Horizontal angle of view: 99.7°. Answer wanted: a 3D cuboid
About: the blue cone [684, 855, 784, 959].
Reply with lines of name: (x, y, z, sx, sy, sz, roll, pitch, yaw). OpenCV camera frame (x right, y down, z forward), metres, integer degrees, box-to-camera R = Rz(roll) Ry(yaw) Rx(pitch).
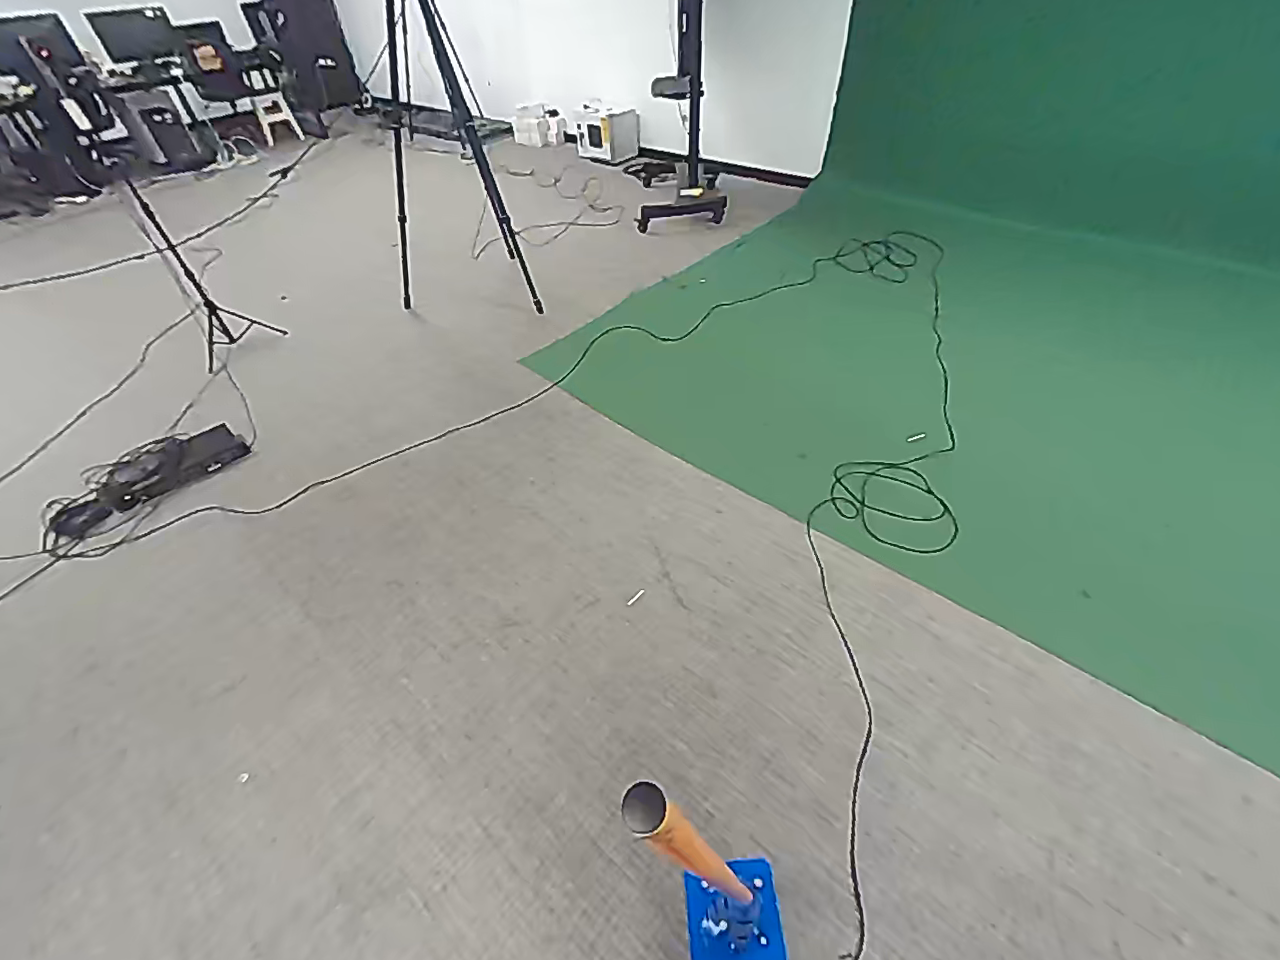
blue cone: (0.186, 0.815, 1.036, 0.193, 0.380, 0.192, -7, 47, 0)
